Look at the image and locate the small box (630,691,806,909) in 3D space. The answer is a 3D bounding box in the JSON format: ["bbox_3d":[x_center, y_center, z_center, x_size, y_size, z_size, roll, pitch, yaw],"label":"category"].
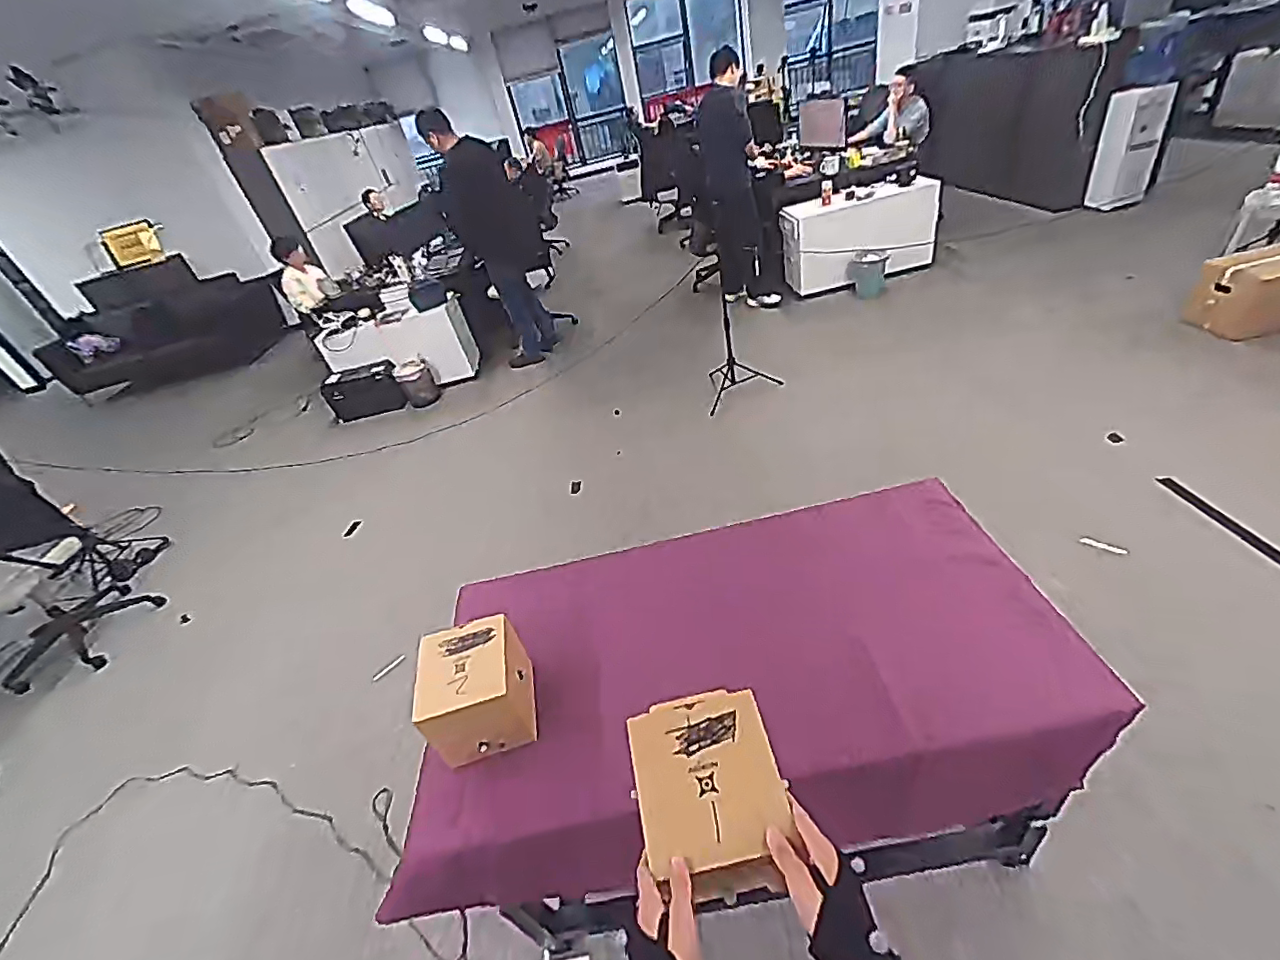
[{"bbox_3d":[0.092,0.395,0.670,0.168,0.176,0.179,-14,44,0],"label":"small box"}]
